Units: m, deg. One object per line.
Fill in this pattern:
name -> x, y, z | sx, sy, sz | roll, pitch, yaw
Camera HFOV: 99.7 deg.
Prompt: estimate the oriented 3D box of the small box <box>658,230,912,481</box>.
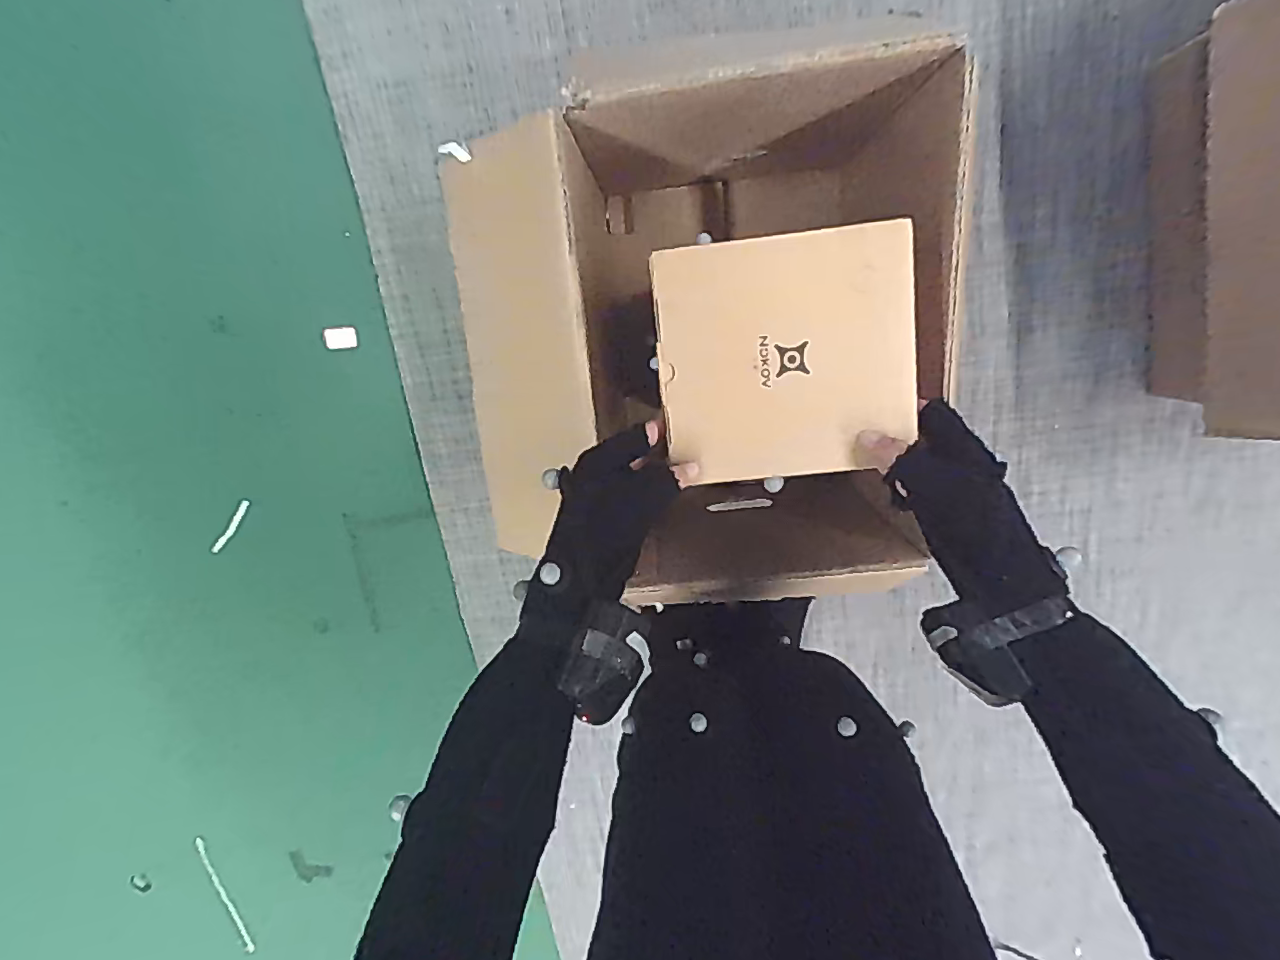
small box -> 0.111, -0.100, 0.469 | 0.179, 0.176, 0.168 | -5, 99, 6
